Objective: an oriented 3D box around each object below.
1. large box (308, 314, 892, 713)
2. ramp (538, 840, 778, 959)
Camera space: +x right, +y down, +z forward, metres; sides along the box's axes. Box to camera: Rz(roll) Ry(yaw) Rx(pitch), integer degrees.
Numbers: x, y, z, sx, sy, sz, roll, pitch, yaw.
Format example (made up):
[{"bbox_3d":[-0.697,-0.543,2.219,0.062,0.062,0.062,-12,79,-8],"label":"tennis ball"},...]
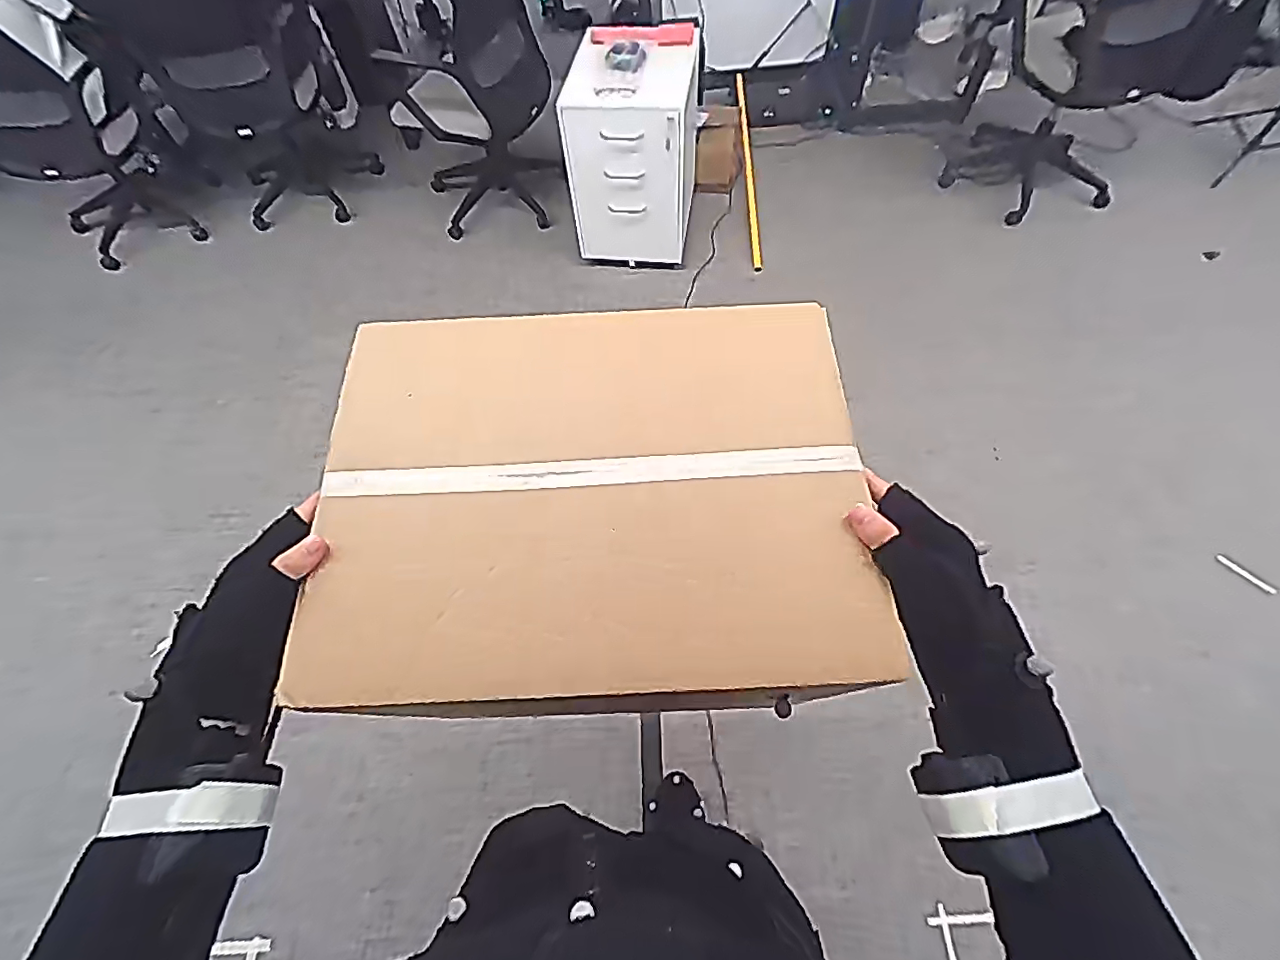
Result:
[{"bbox_3d":[-0.029,0.063,0.558,0.408,0.320,0.320,-3,64,1],"label":"large box"},{"bbox_3d":[0.037,1.202,0.902,0.509,0.206,0.991,-5,60,2],"label":"ramp"}]
